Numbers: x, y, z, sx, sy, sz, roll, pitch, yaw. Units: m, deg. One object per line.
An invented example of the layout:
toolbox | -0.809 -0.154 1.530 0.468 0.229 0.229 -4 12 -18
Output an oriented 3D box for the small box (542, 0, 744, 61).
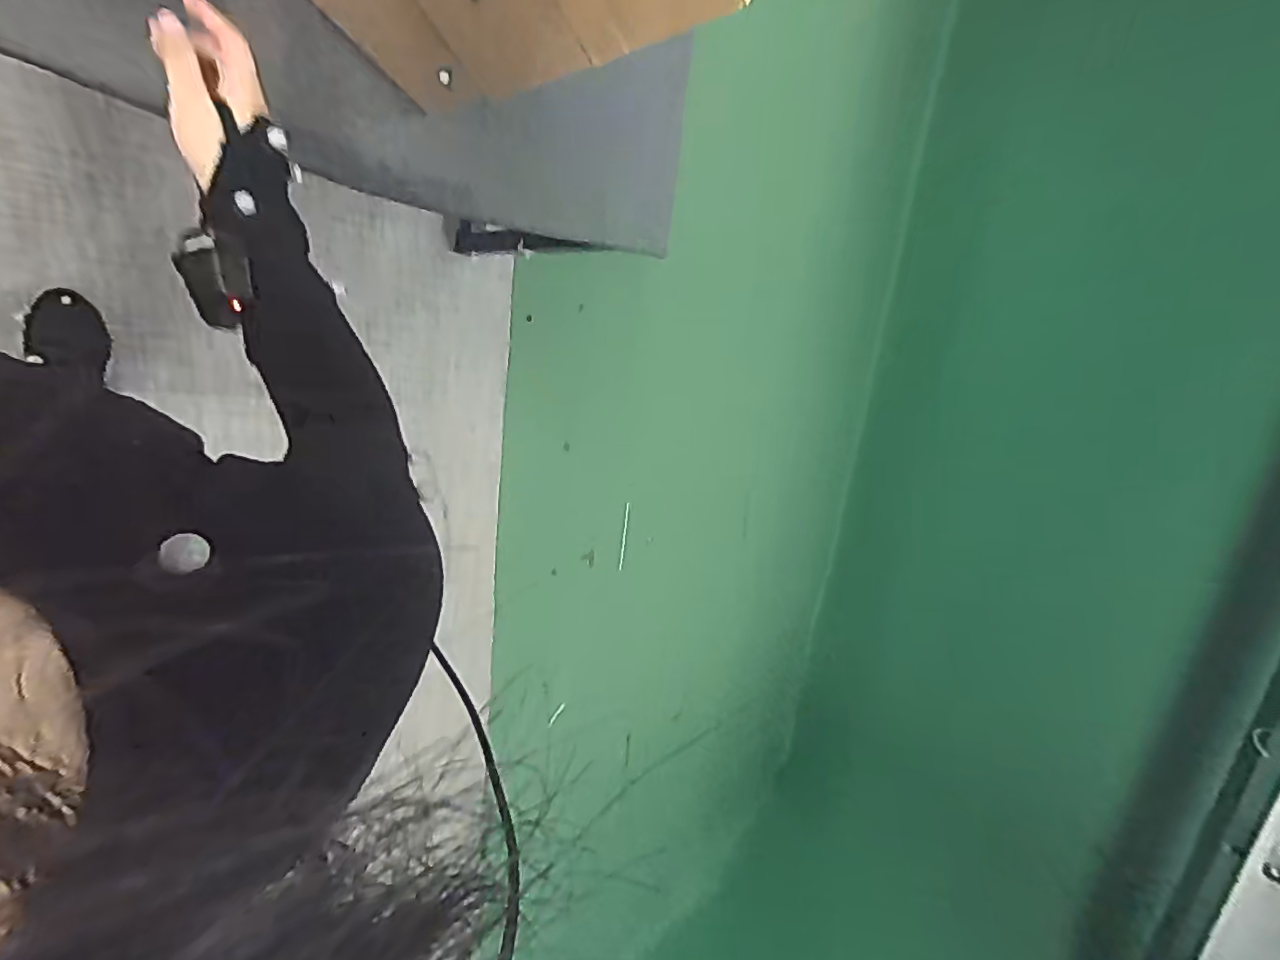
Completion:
small box | -0.002 -0.464 0.398 0.179 0.176 0.168 38 74 -50

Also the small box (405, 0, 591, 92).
small box | -0.121 -0.502 0.503 0.179 0.176 0.168 41 72 -48
